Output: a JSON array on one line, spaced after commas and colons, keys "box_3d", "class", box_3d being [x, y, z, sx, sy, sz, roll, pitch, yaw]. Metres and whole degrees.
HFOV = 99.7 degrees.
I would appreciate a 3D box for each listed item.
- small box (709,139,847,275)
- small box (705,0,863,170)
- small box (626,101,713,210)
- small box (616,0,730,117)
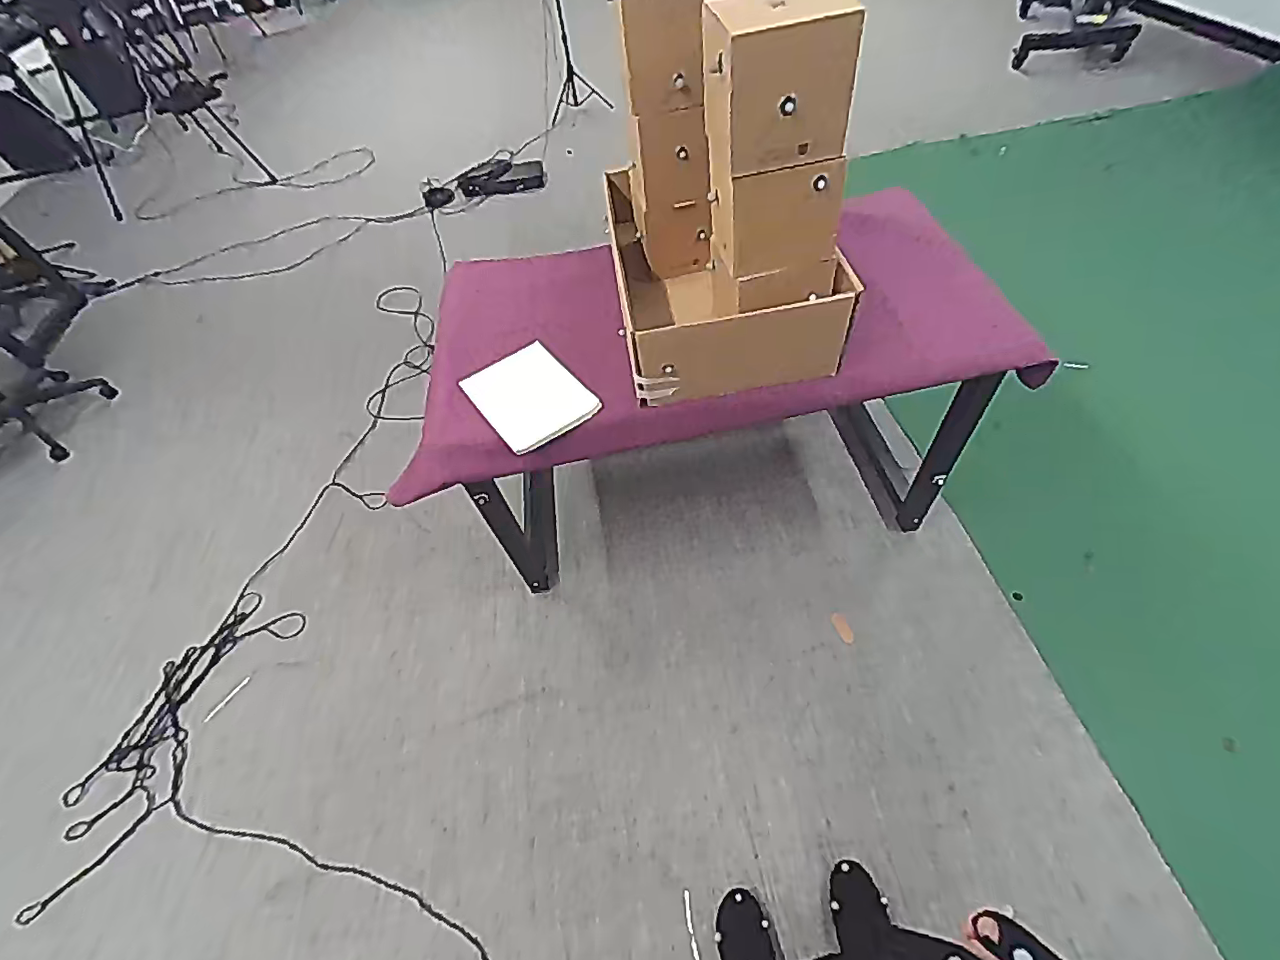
[{"box_3d": [0.217, -0.461, 0.892, 0.179, 0.176, 0.168, -10, 52, 1], "class": "small box"}, {"box_3d": [0.190, -0.559, 0.762, 0.168, 0.176, 0.179, -10, 51, 1], "class": "small box"}, {"box_3d": [0.074, -0.666, 1.068, 0.179, 0.176, 0.168, -12, 54, -1], "class": "small box"}, {"box_3d": [0.054, -0.763, 0.937, 0.179, 0.176, 0.168, -9, 54, -1], "class": "small box"}]
